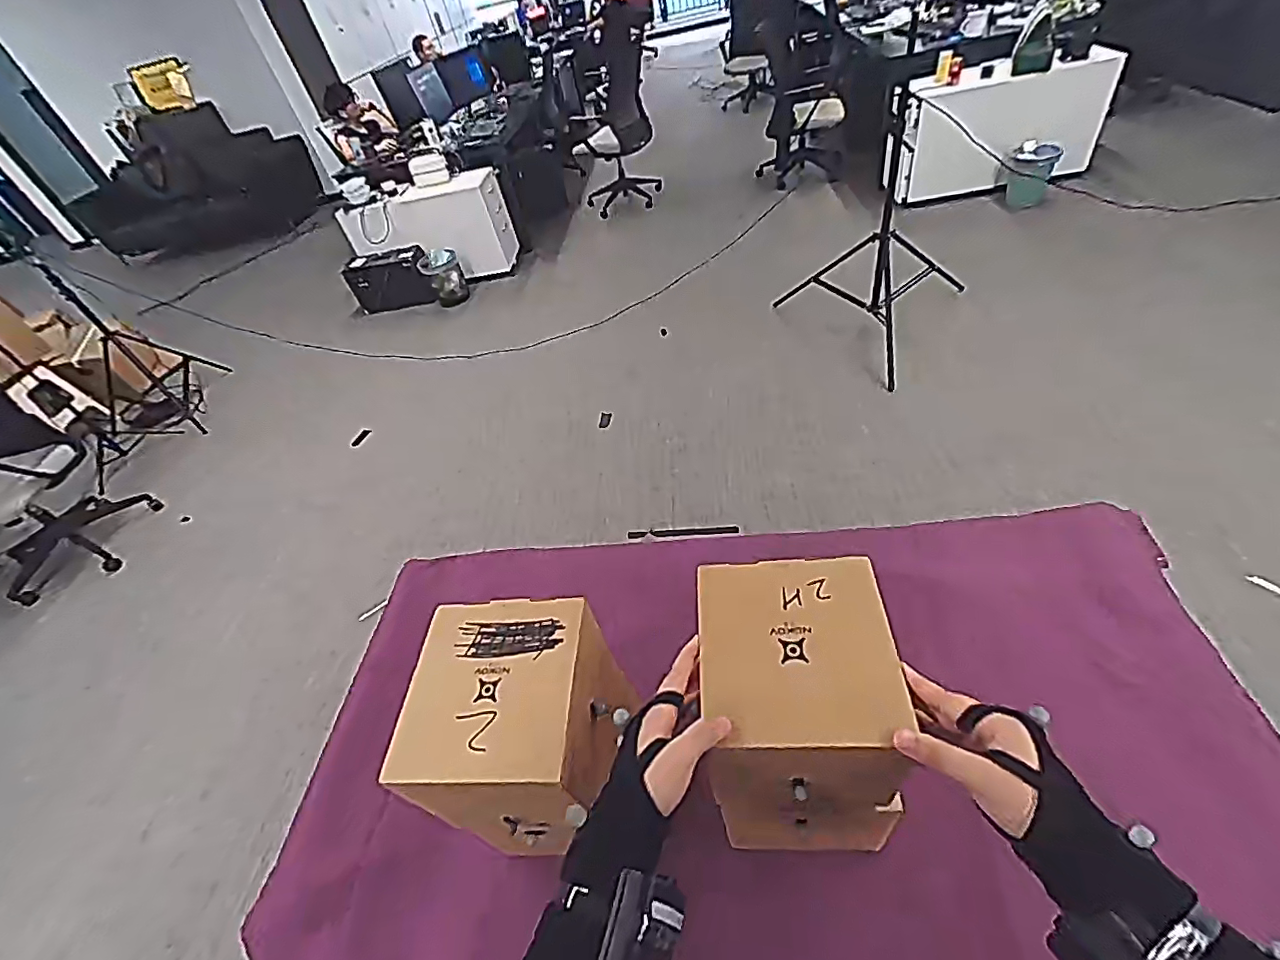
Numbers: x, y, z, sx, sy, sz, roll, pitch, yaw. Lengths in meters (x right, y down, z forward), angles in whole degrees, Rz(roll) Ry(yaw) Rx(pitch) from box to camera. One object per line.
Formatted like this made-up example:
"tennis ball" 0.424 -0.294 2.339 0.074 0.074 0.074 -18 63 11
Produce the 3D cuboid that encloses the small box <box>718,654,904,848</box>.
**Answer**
"small box" 0.189 0.324 0.645 0.179 0.176 0.168 -6 45 10

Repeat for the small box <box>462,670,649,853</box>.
"small box" -0.092 0.357 0.683 0.179 0.176 0.168 -5 45 9
